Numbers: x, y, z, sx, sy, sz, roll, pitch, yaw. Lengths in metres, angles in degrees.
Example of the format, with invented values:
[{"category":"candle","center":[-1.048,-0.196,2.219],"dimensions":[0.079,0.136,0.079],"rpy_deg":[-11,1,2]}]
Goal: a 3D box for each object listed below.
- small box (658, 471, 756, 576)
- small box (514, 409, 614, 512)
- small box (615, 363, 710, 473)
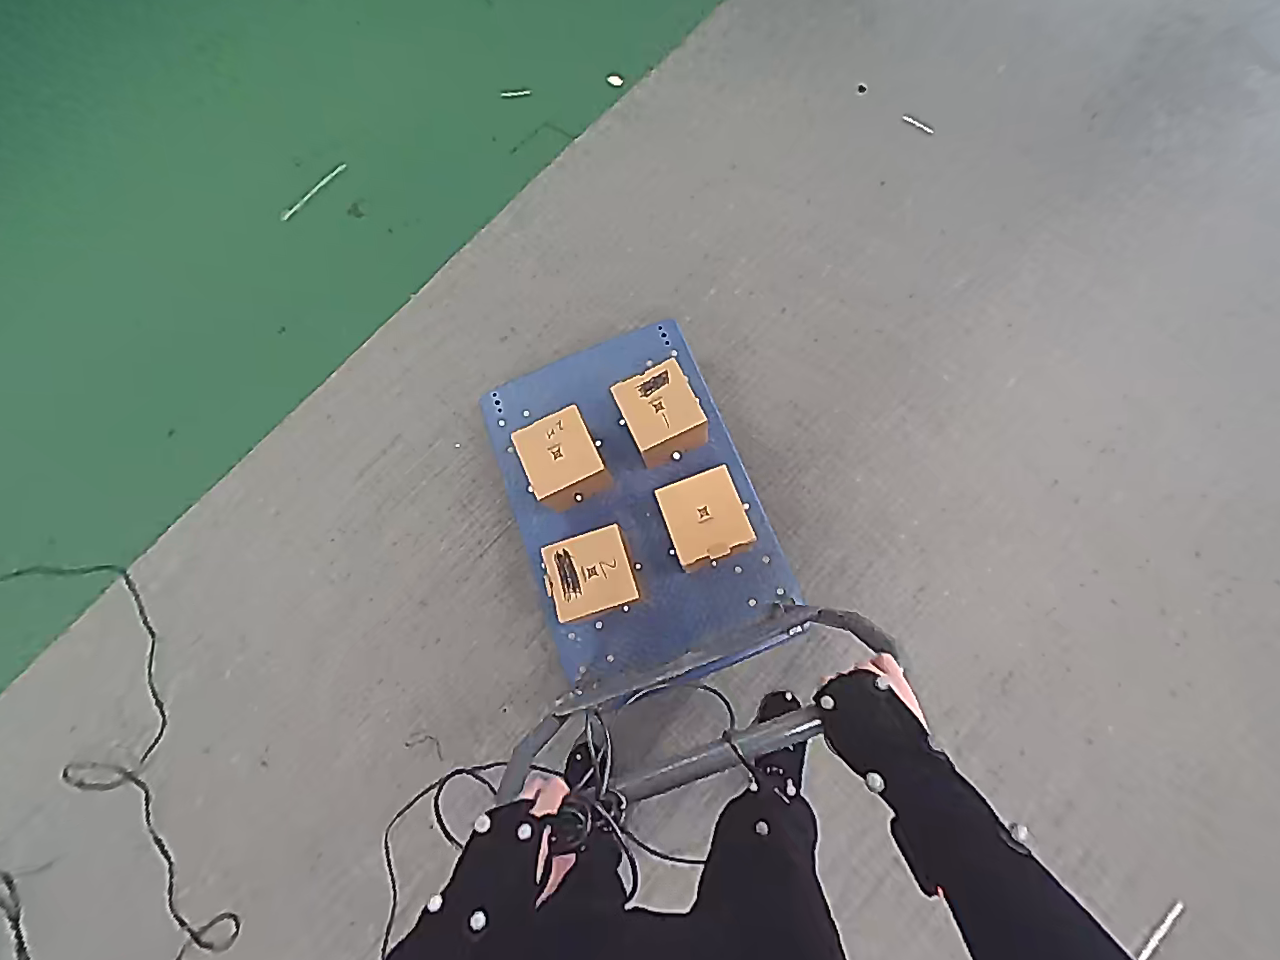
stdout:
[{"category":"small box","center":[0.145,0.103,1.213],"dimensions":[0.168,0.176,0.179],"rpy_deg":[-20,75,1]},{"category":"small box","center":[-0.173,-0.036,1.285],"dimensions":[0.168,0.176,0.179],"rpy_deg":[-24,74,-1]},{"category":"small box","center":[0.055,-0.141,1.286],"dimensions":[0.168,0.176,0.179],"rpy_deg":[-24,75,0]}]
